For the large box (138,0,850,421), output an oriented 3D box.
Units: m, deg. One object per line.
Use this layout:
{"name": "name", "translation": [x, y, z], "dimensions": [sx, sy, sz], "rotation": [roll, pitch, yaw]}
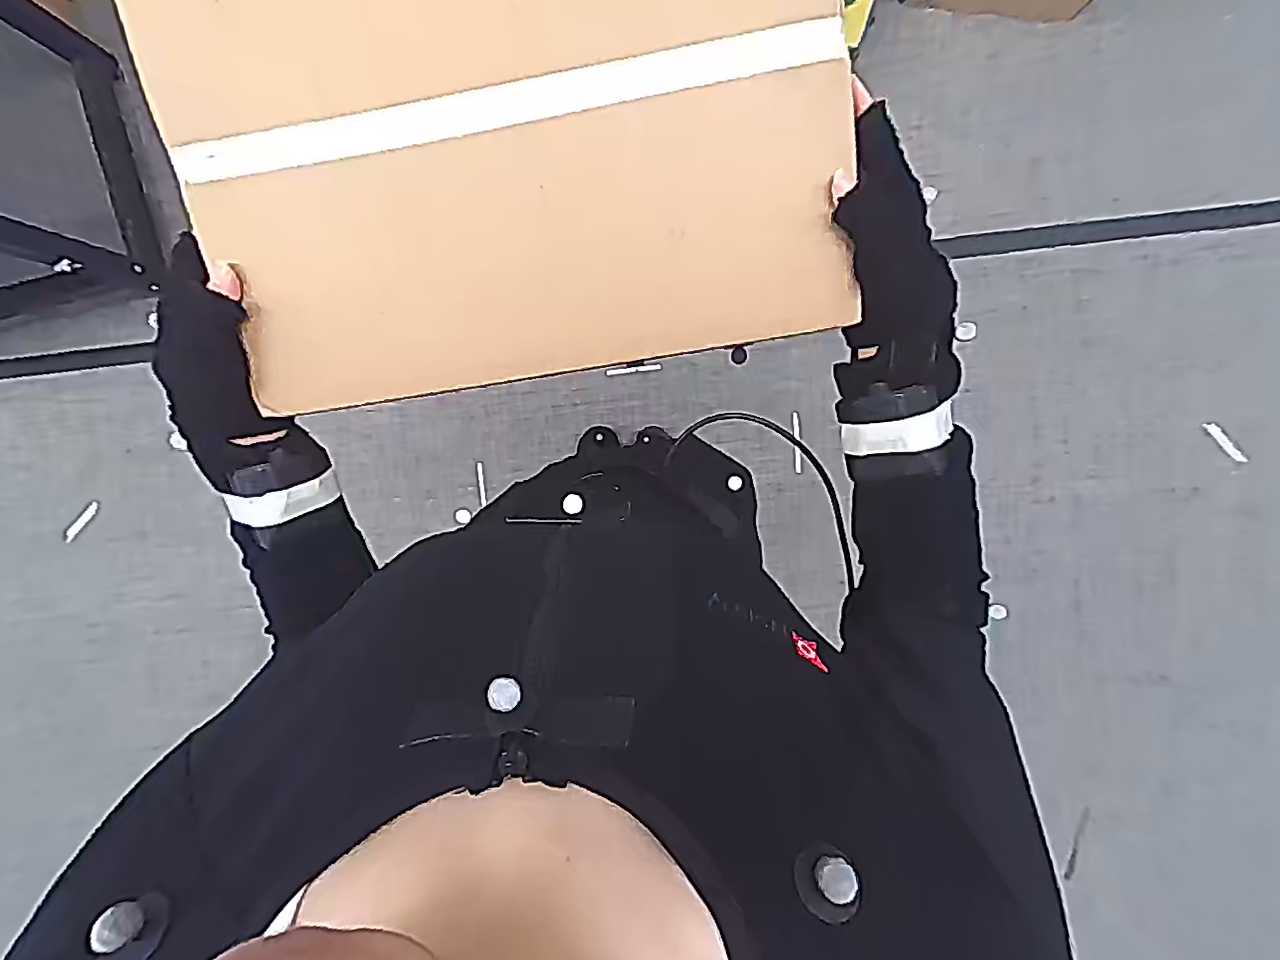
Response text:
{"name": "large box", "translation": [-0.077, -0.258, 0.472], "dimensions": [0.408, 0.320, 0.320], "rotation": [-9, 104, 4]}
